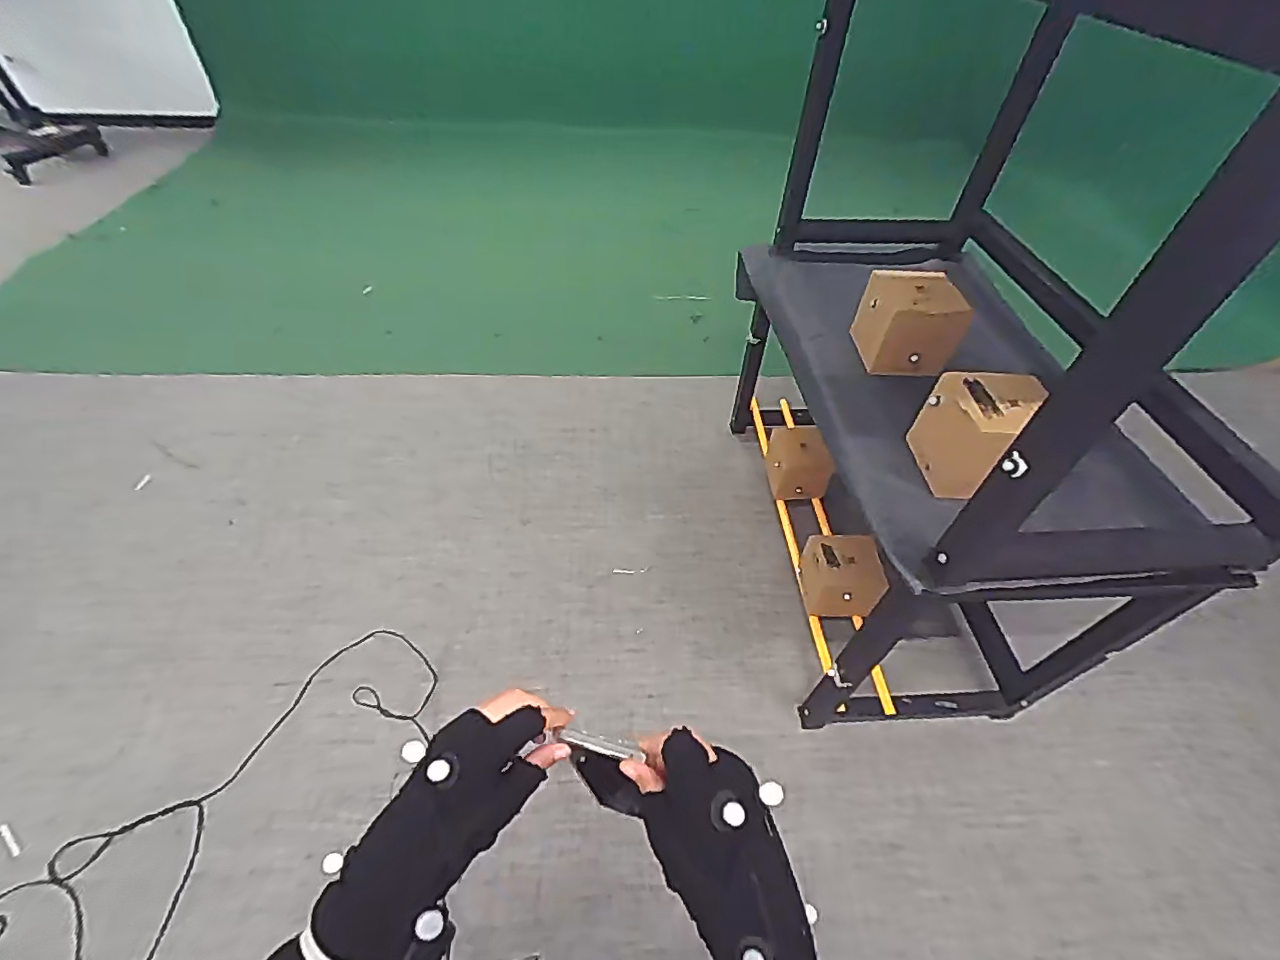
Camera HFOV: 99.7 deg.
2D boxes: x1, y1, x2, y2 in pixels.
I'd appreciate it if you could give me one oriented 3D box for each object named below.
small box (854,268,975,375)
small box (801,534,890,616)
[{"bbox_3d":[0.611,-0.362,1.233,0.168,0.176,0.179,1,48,-1],"label":"small box"},{"bbox_3d":[0.560,0.267,1.506,0.179,0.176,0.168,1,49,-1],"label":"small box"}]
